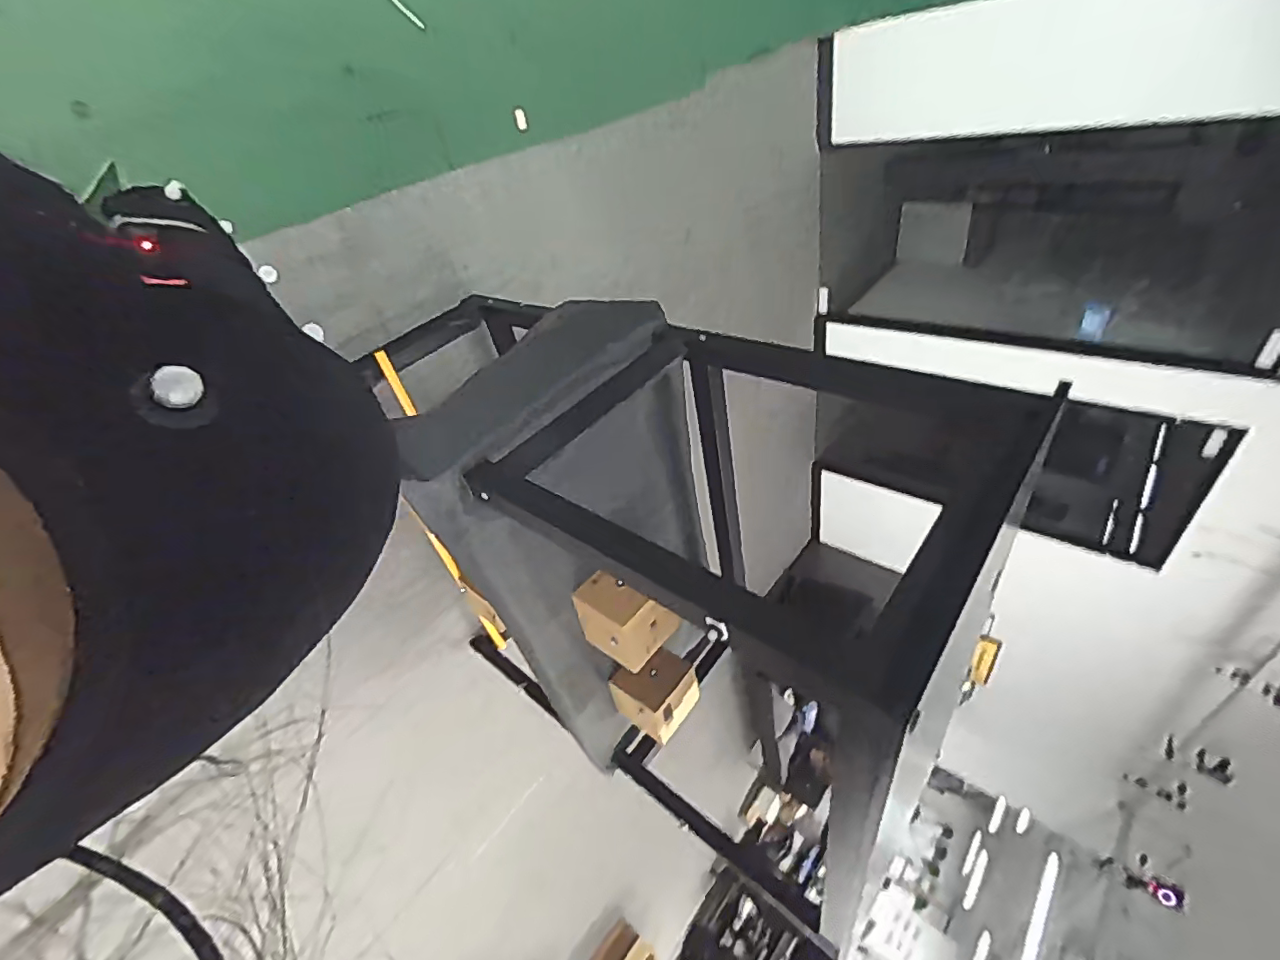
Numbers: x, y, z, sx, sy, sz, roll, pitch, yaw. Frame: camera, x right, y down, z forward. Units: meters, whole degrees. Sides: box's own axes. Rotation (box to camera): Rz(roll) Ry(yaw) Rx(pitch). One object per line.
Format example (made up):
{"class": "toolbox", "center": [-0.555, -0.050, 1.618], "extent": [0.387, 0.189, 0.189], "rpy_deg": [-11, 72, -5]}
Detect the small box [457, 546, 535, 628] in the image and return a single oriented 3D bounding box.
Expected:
{"class": "small box", "center": [-0.489, 0.353, 1.811], "extent": [0.179, 0.176, 0.168], "rpy_deg": [-40, 136, -33]}

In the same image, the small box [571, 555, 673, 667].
{"class": "small box", "center": [-0.043, 0.301, 1.290], "extent": [0.168, 0.176, 0.179], "rpy_deg": [-40, 136, -33]}
